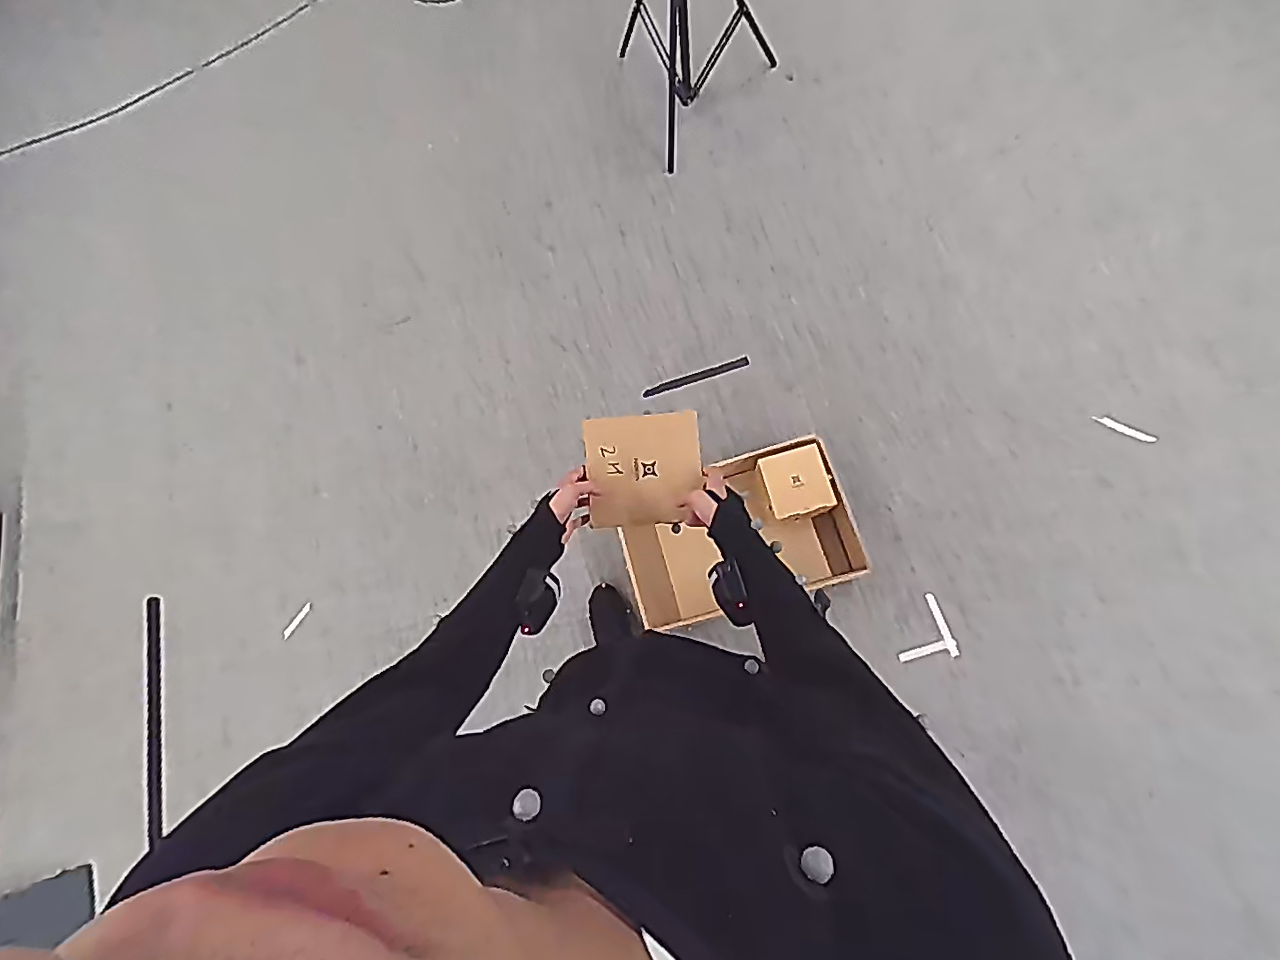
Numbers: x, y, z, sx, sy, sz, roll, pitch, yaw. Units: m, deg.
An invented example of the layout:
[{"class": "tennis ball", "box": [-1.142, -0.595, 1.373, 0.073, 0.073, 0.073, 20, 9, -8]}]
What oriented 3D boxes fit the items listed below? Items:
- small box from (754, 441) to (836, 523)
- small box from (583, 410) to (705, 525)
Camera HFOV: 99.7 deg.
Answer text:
[{"class": "small box", "box": [0.428, 0.012, 1.526, 0.168, 0.176, 0.179, -16, 77, 5]}, {"class": "small box", "box": [0.009, -0.015, 0.885, 0.179, 0.176, 0.168, -4, 86, 3]}]
